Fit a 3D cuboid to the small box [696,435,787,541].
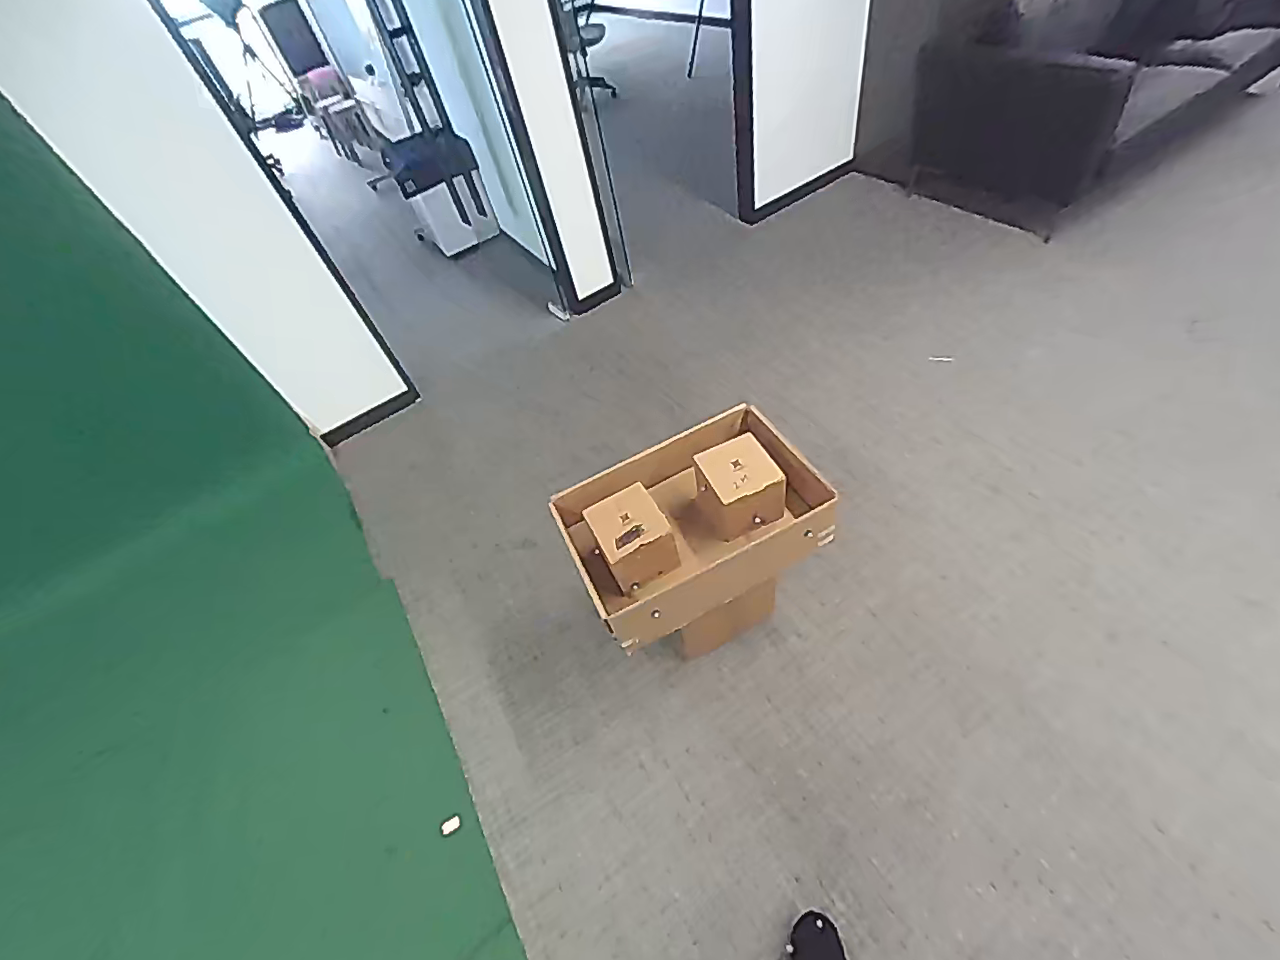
[{"bbox_3d":[0.254,0.022,1.371,0.168,0.176,0.179,-23,51,-6],"label":"small box"}]
